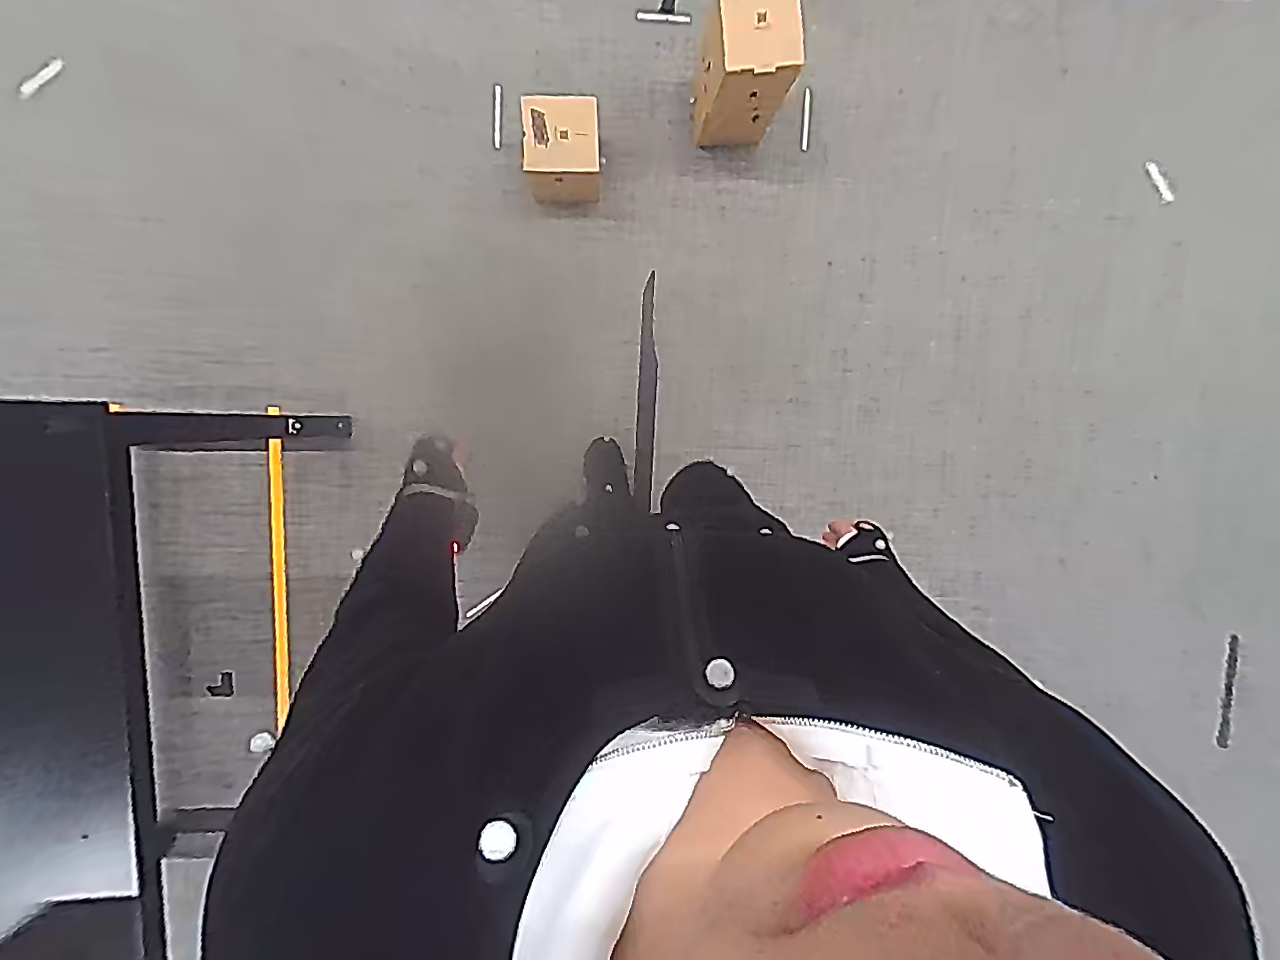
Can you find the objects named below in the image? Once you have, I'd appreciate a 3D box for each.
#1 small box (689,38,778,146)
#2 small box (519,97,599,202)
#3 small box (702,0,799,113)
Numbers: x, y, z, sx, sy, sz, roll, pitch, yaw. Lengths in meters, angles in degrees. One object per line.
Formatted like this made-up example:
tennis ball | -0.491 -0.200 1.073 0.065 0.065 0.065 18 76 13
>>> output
small box | 0.225 -0.949 1.328 0.179 0.176 0.168 -5 96 -3
small box | -0.190 -0.795 1.315 0.179 0.176 0.168 -2 96 -4
small box | 0.233 -0.923 1.166 0.168 0.176 0.179 -6 97 -3
